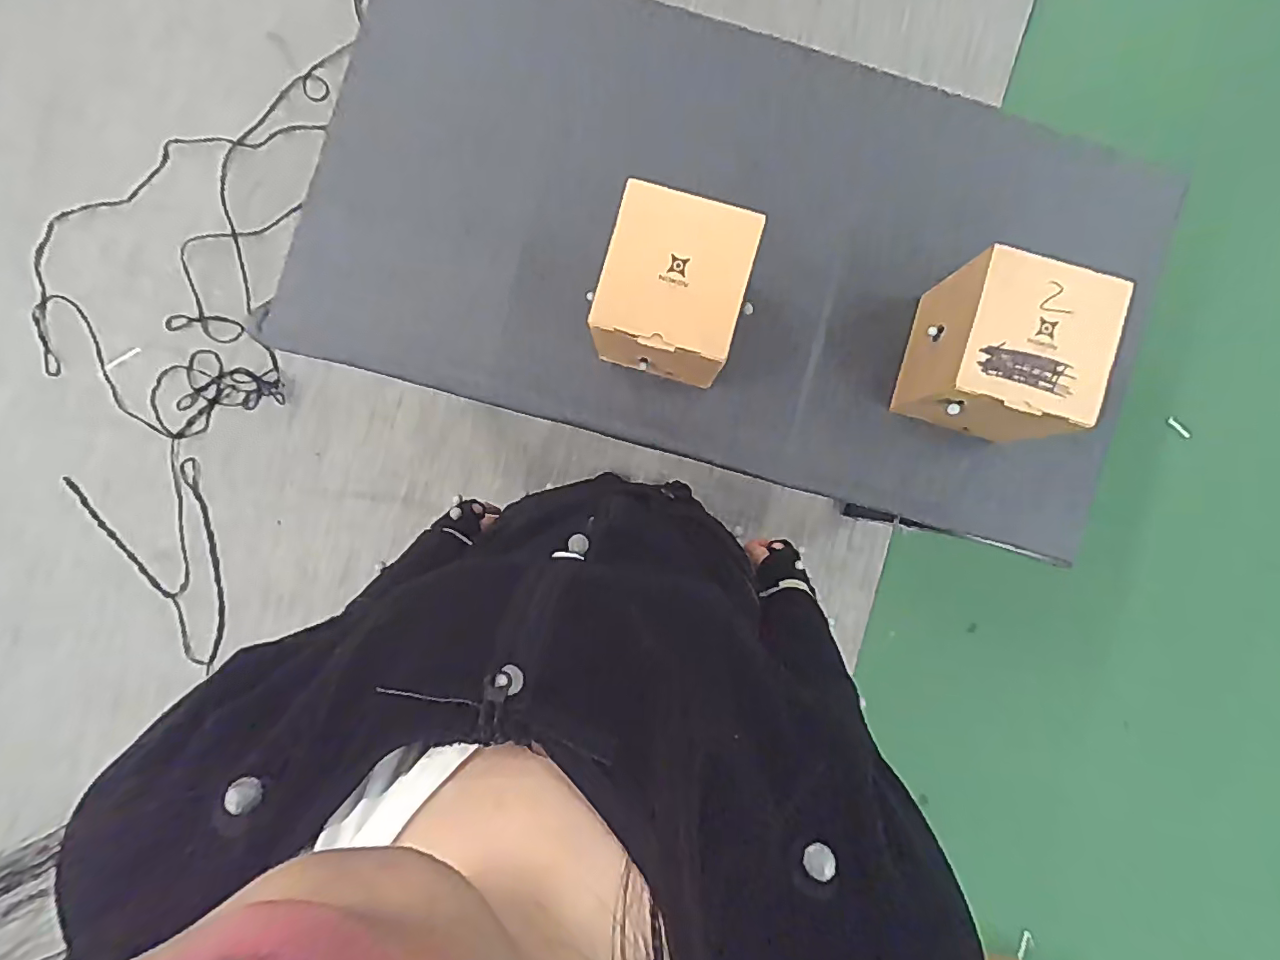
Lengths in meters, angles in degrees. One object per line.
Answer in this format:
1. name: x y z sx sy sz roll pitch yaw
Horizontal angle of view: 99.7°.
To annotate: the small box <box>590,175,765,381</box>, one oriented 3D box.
1. small box: 0.041 -0.242 0.693 0.168 0.176 0.179 15 91 -1
